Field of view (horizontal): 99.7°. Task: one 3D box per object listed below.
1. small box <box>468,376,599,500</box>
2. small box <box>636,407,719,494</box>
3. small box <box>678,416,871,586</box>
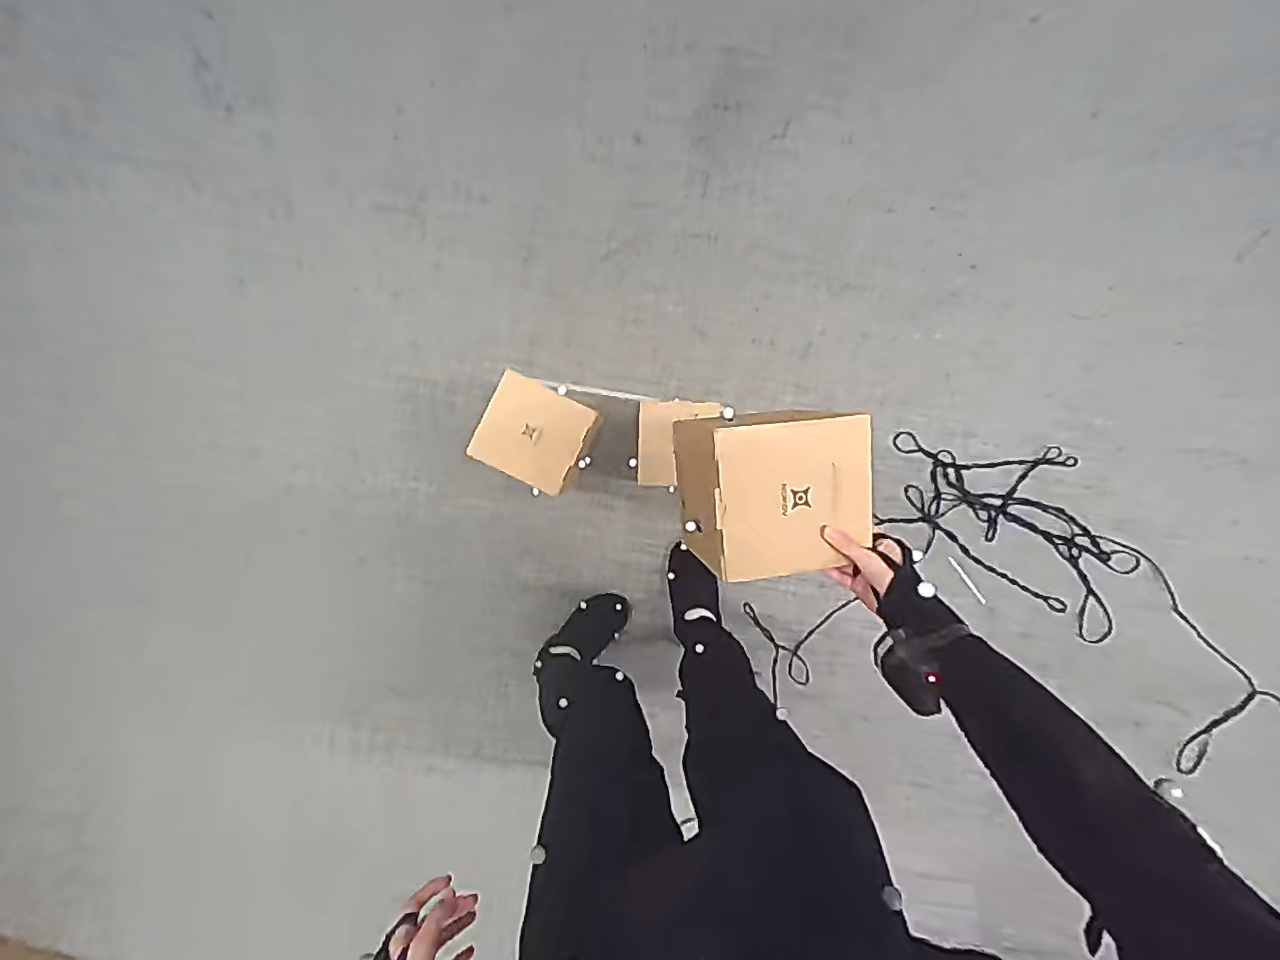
[{"bbox_3d":[-0.190,-0.072,1.016,0.179,0.176,0.168,26,89,-2],"label":"small box"},{"bbox_3d":[0.077,-0.060,1.180,0.168,0.176,0.179,2,90,-1],"label":"small box"},{"bbox_3d":[0.147,0.013,0.640,0.179,0.176,0.168,-6,100,-10],"label":"small box"}]
